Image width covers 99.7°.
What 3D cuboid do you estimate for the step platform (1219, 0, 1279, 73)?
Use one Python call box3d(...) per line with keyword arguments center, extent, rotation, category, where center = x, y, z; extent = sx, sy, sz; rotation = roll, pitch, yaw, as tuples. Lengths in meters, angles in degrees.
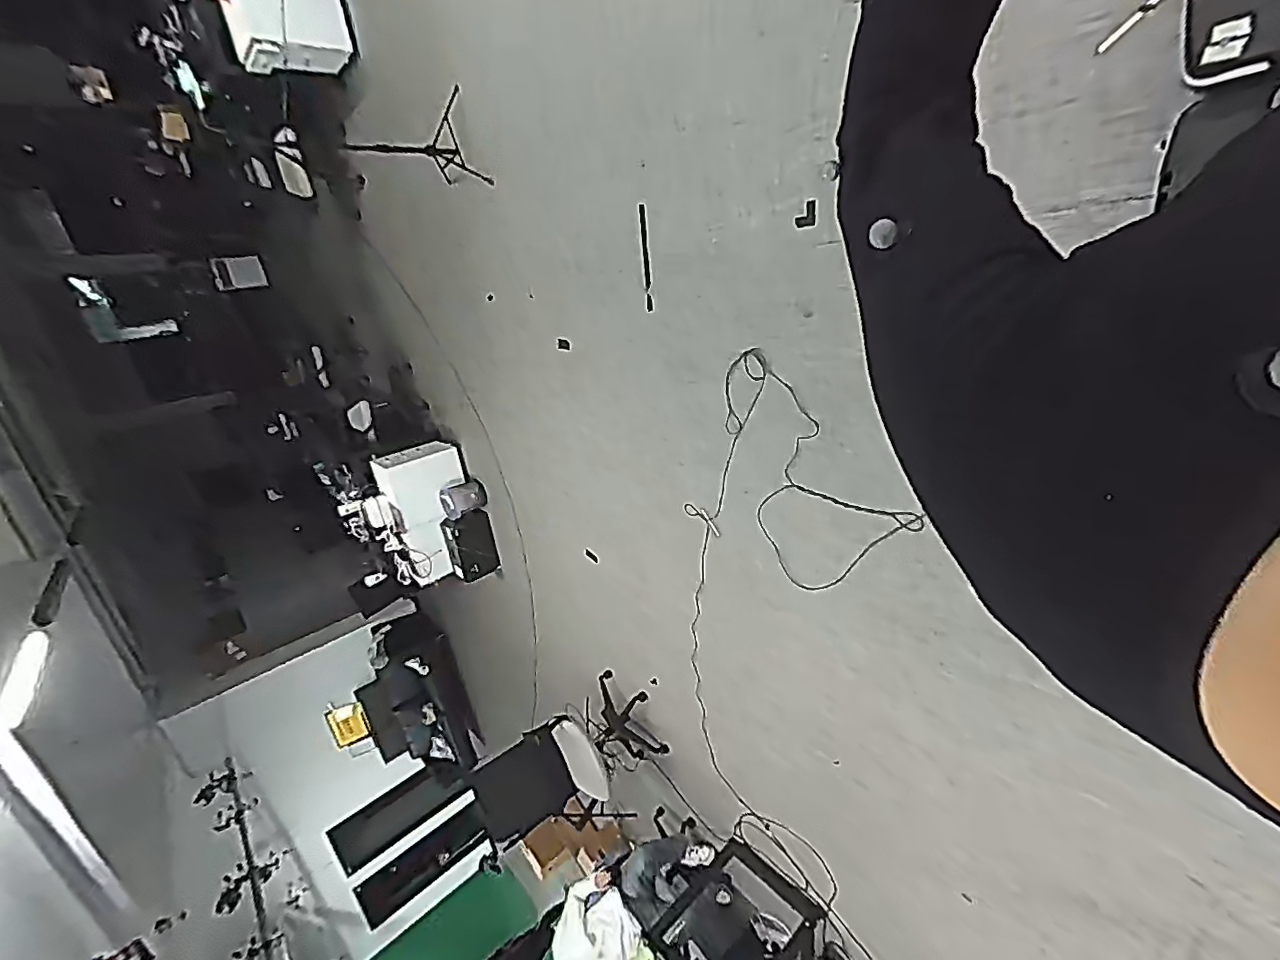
box3d(center=(1.176, -0.766, 0.629), extent=(0.684, 0.204, 0.286), rotation=(13, 119, 47), category="step platform")
